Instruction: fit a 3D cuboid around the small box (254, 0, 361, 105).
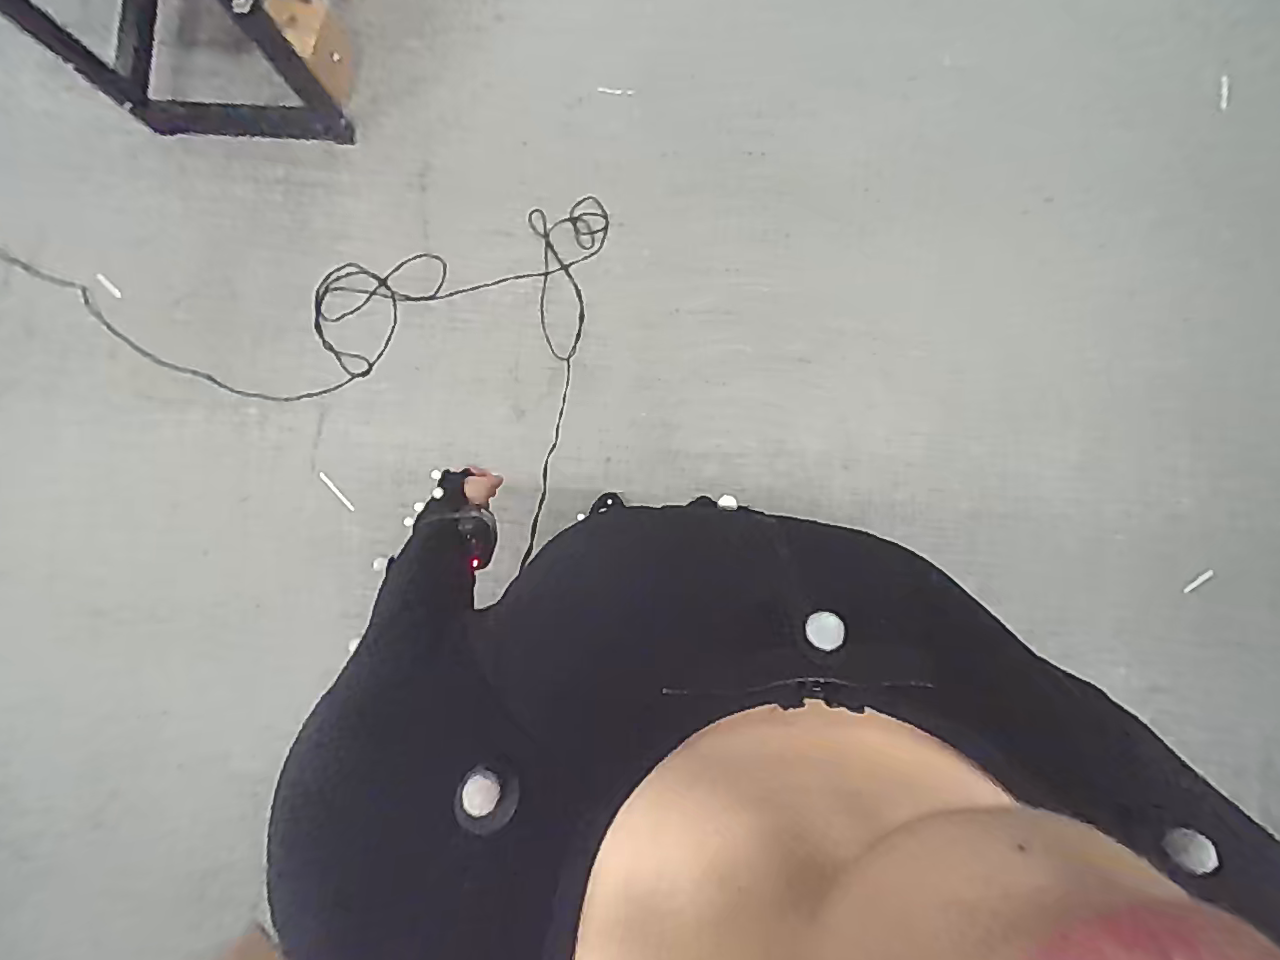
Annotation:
[{"bbox_3d":[-0.900,-1.179,1.481,0.168,0.176,0.179,16,88,0],"label":"small box"}]
